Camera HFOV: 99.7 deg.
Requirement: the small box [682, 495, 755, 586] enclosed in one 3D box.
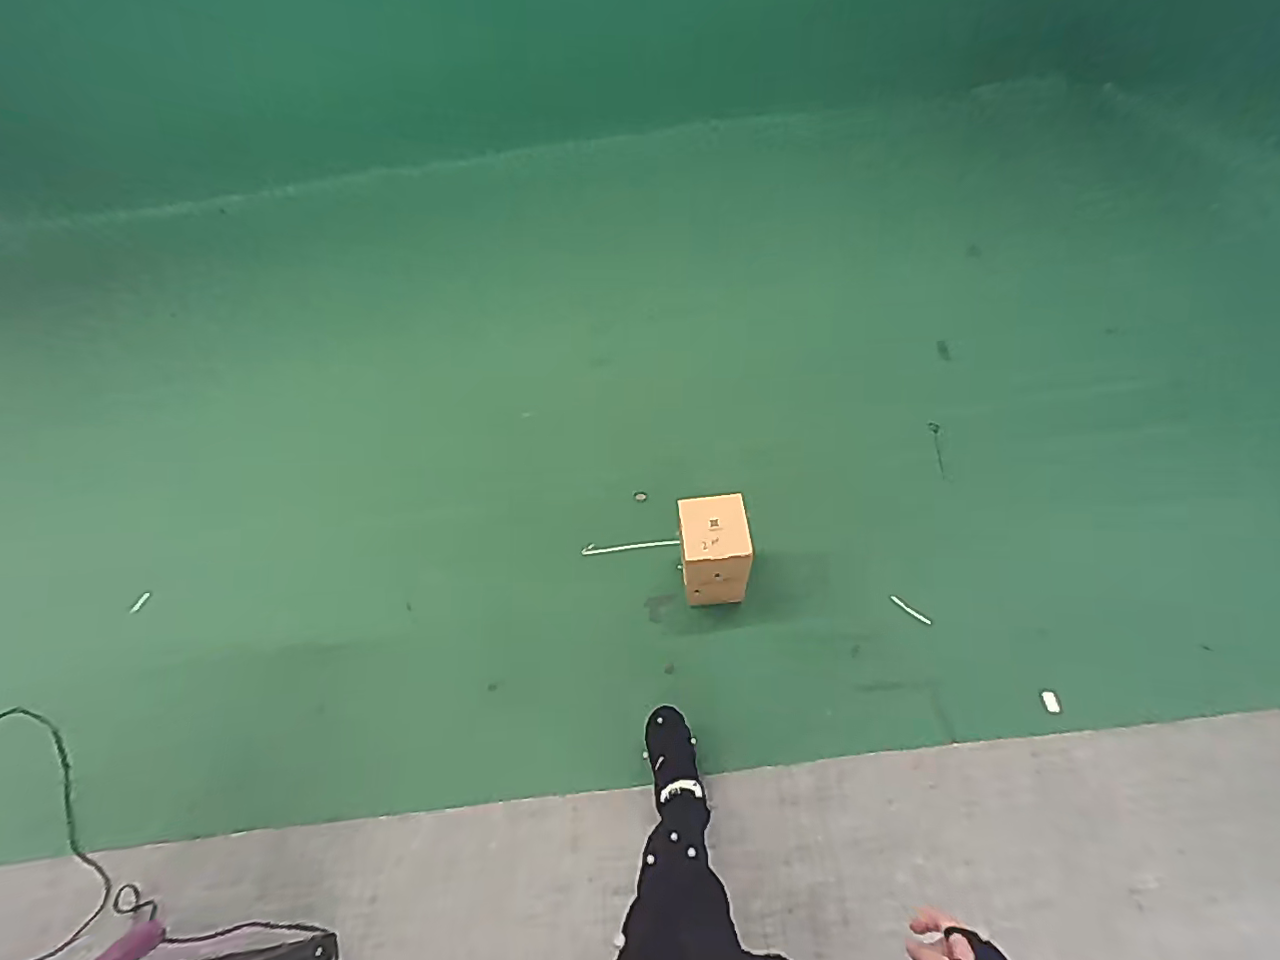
[{"bbox_3d":[0.197,0.161,1.412,0.168,0.176,0.179,-6,58,3],"label":"small box"}]
